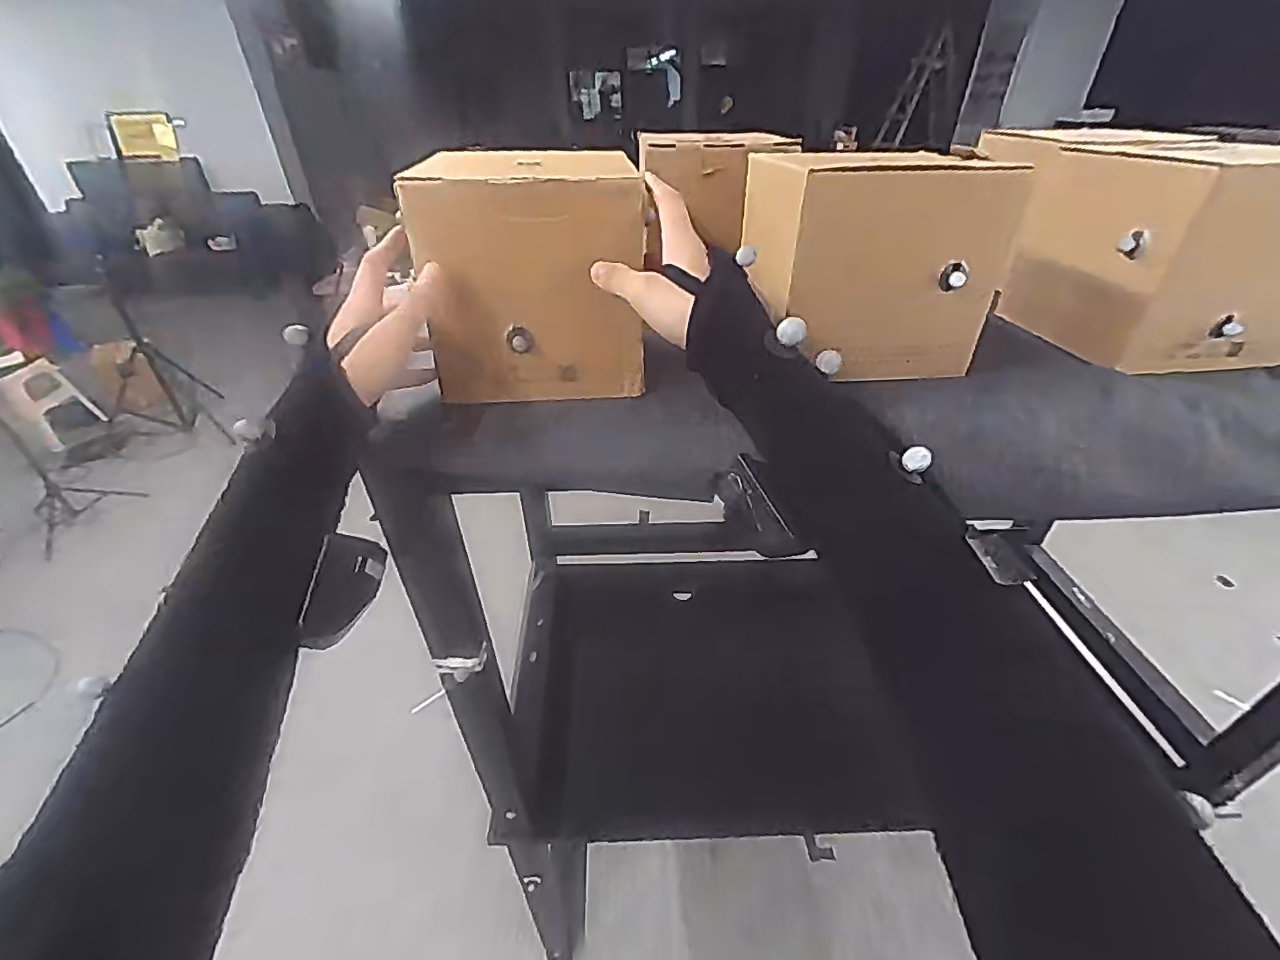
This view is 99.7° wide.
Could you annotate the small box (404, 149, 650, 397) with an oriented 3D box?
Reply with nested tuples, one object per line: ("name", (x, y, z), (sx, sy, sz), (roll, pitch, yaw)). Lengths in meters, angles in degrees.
("small box", (-0.084, -0.185, 0.473), (0.168, 0.176, 0.179), (-3, 36, -5))

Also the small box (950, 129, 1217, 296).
("small box", (0.534, -0.344, 0.690), (0.168, 0.176, 0.179), (-1, 35, 0))

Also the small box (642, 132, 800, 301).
("small box", (0.087, -0.329, 0.675), (0.168, 0.176, 0.179), (-1, 35, -1))
